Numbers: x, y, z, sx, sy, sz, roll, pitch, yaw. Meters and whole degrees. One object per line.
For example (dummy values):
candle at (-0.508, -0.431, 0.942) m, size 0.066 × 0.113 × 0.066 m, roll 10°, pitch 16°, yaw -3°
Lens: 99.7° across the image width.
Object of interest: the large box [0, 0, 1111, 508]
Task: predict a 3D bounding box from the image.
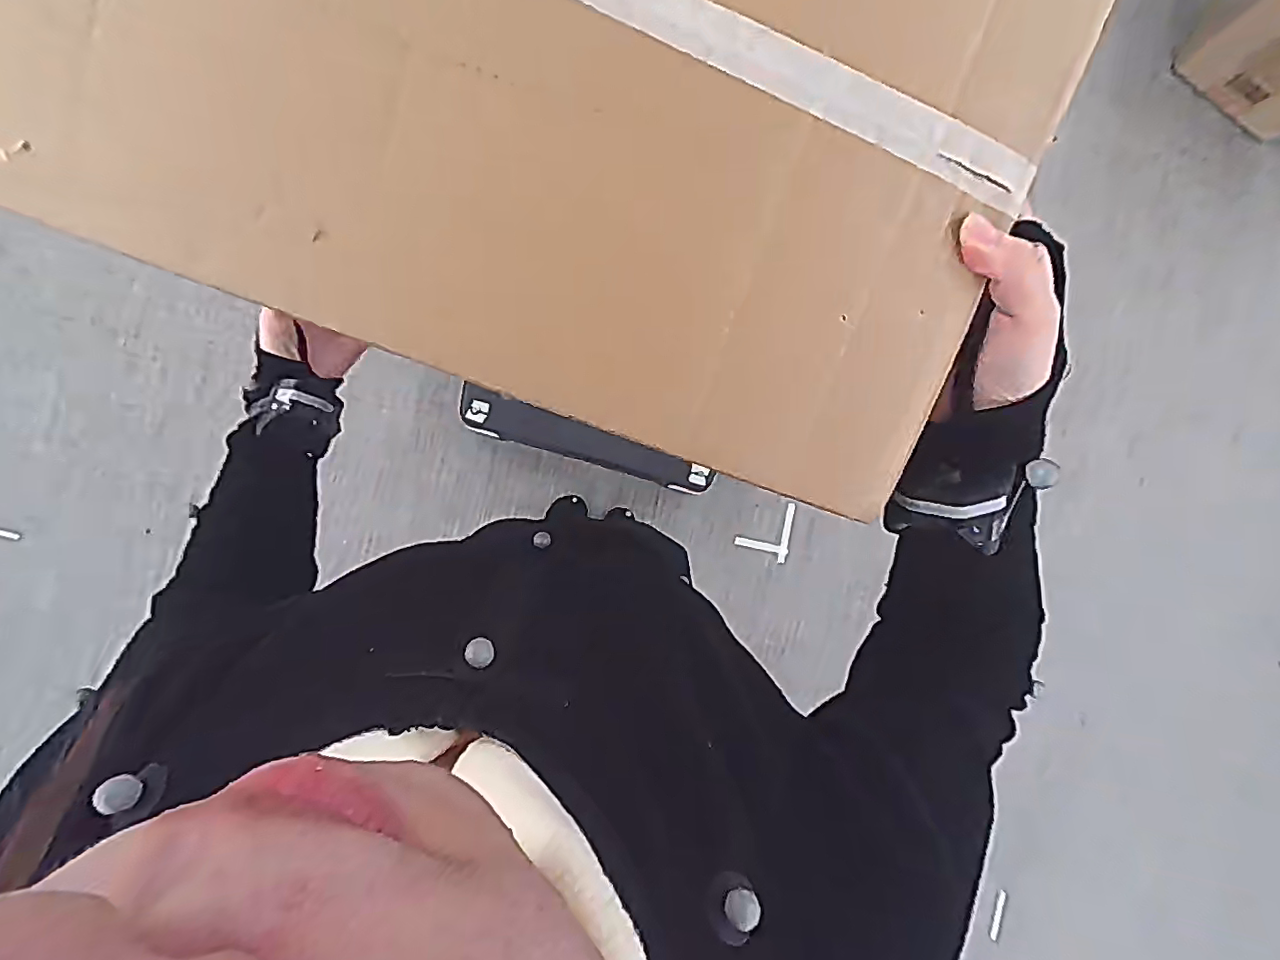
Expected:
large box at (-0.032, -0.213, 0.349) m, size 0.408 × 0.320 × 0.320 m, roll 19°, pitch 97°, yaw -8°

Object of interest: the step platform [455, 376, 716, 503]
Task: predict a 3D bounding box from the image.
step platform at (-0.115, -0.181, 1.407) m, size 0.684 × 0.204 × 0.286 m, roll 21°, pitch 87°, yaw -3°
